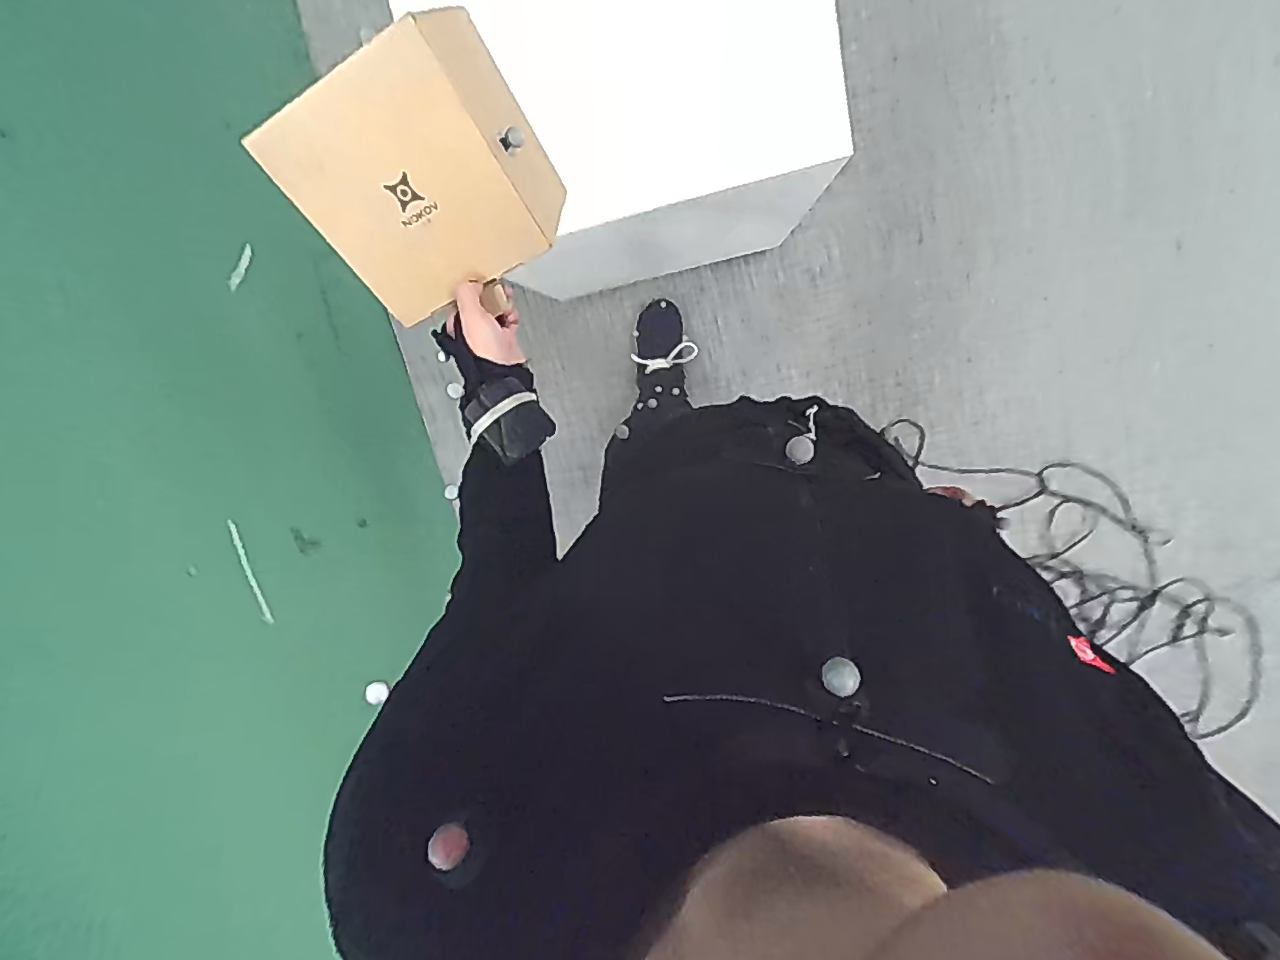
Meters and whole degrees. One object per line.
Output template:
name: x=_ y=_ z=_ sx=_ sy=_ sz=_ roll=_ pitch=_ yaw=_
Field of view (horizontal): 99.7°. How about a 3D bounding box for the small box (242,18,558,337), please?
small box: x=-0.189 y=-0.269 z=0.486 sx=0.168 sy=0.176 sz=0.179 roll=-23 pitch=131 yaw=16
